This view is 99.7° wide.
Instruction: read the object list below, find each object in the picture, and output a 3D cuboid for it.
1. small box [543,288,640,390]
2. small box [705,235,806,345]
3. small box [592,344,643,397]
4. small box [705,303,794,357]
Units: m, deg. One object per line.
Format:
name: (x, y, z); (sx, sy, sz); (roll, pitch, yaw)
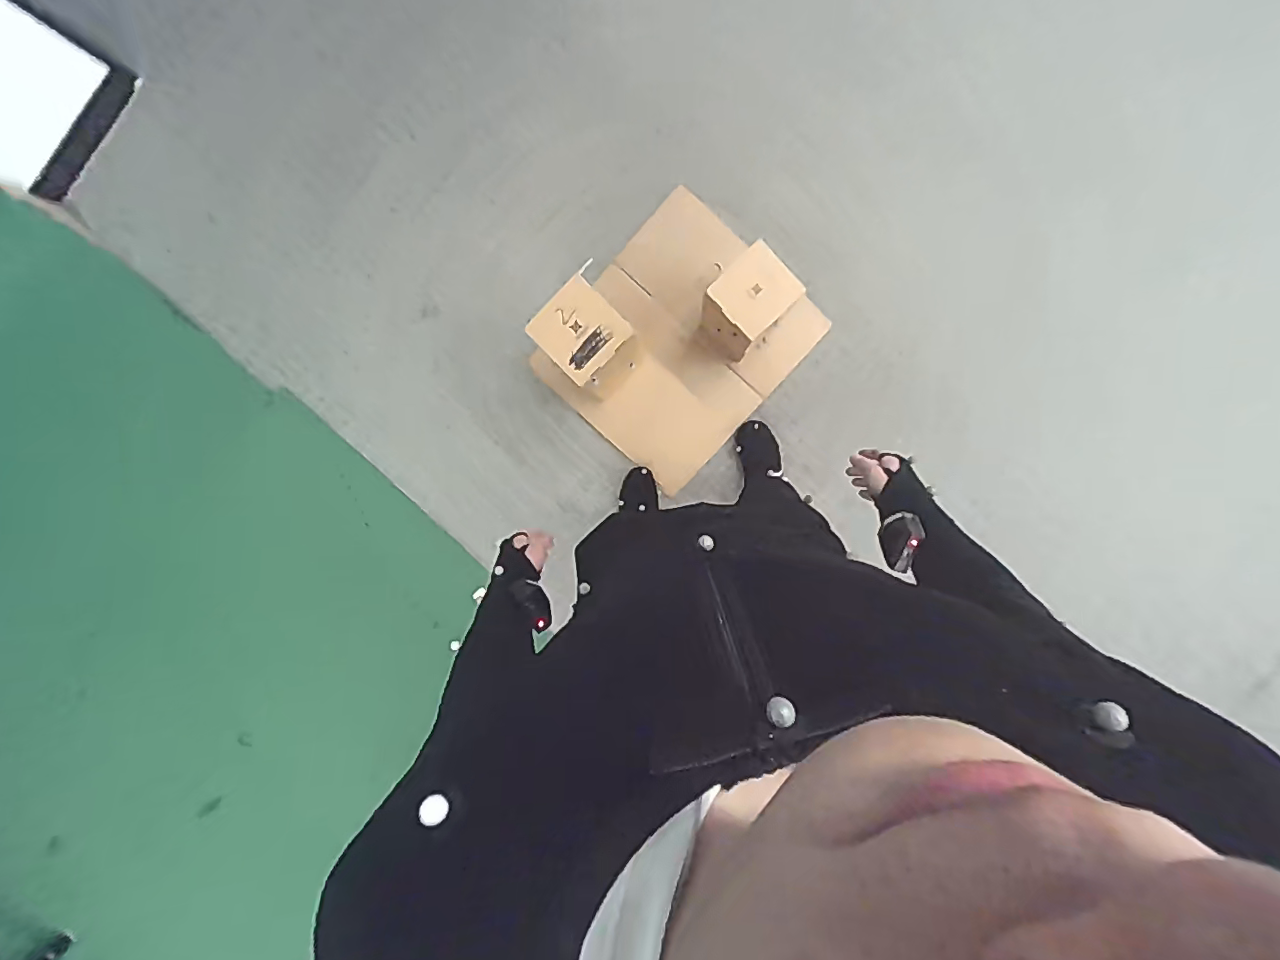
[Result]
small box: (-0.113, -0.347, 1.366); (0.168, 0.176, 0.179); (43, 97, -1)
small box: (0.276, -0.454, 1.330); (0.179, 0.176, 0.168); (-43, 91, 6)
small box: (-0.106, -0.355, 1.527); (0.168, 0.176, 0.179); (43, 96, 0)
small box: (0.291, -0.466, 1.492); (0.168, 0.176, 0.179); (45, 96, 0)
